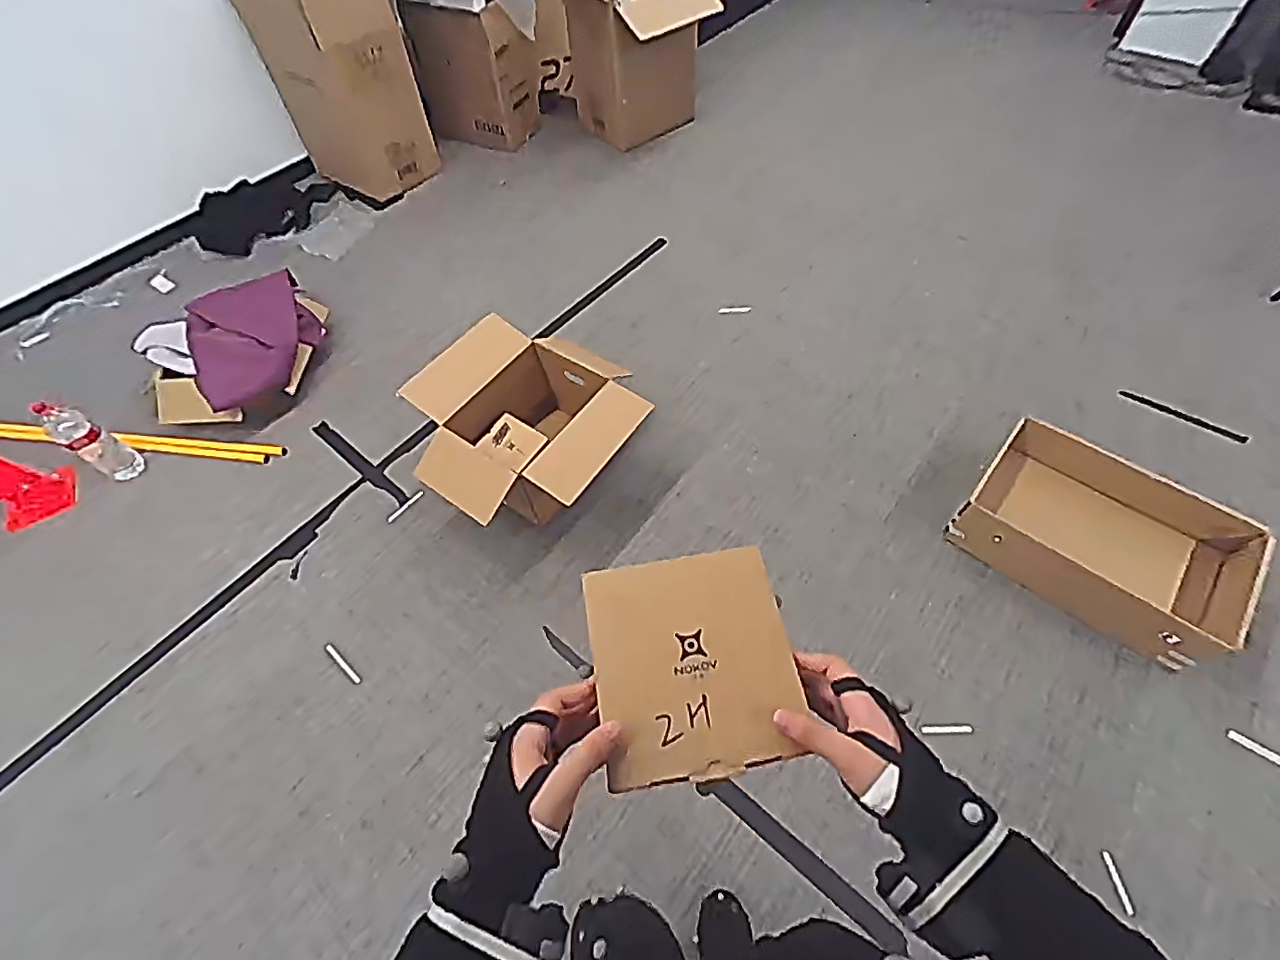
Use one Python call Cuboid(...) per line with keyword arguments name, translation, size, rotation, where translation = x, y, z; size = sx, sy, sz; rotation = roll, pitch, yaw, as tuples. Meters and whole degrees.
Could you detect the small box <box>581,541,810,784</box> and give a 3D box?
Cuboid(name="small box", translation=(0.038, 0.180, 0.520), size=(0.168, 0.176, 0.179), rotation=(-9, 61, -5))
